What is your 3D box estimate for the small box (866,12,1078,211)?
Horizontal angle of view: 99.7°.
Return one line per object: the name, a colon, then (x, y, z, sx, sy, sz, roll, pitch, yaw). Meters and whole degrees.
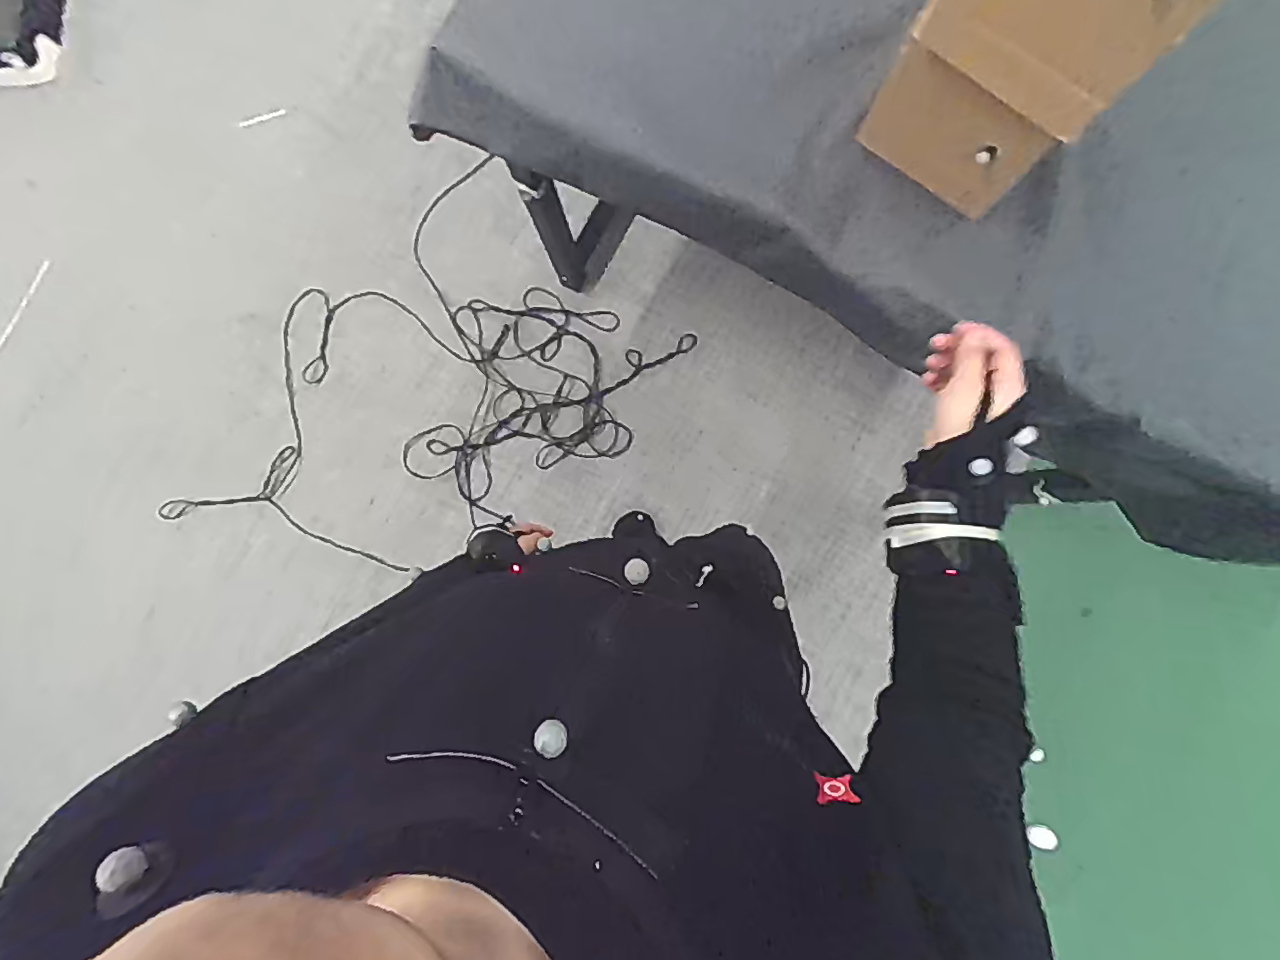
small box: (0.383, -0.425, 0.574, 0.179, 0.176, 0.168, 37, 87, 5)
